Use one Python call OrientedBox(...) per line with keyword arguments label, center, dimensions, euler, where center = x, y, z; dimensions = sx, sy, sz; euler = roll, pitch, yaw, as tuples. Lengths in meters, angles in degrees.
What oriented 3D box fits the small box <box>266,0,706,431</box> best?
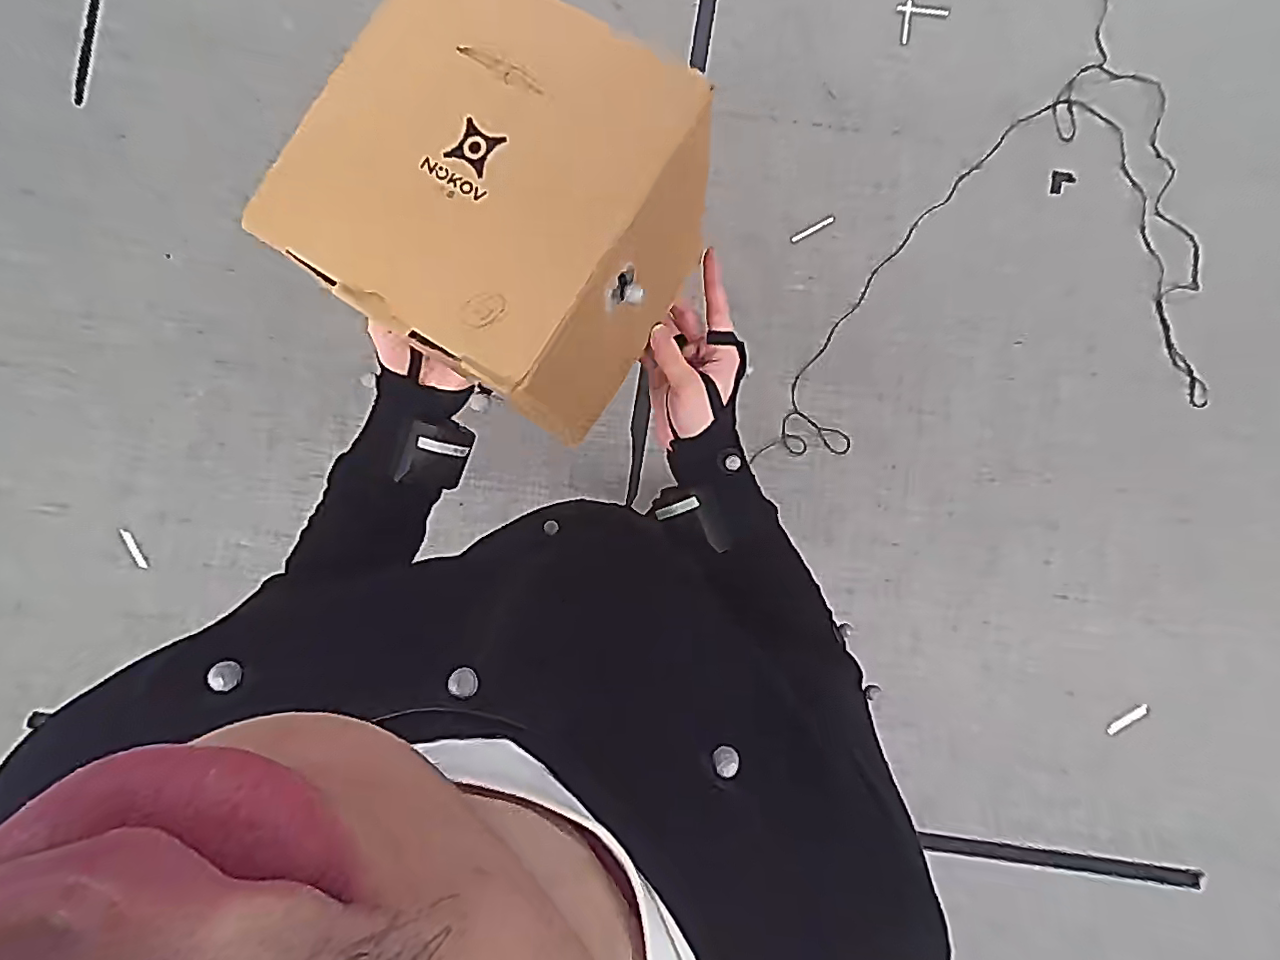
OrientedBox(label="small box", center=(-0.072, -0.151, 0.346), dimensions=(0.168, 0.176, 0.179), euler=(31, 87, 6))
